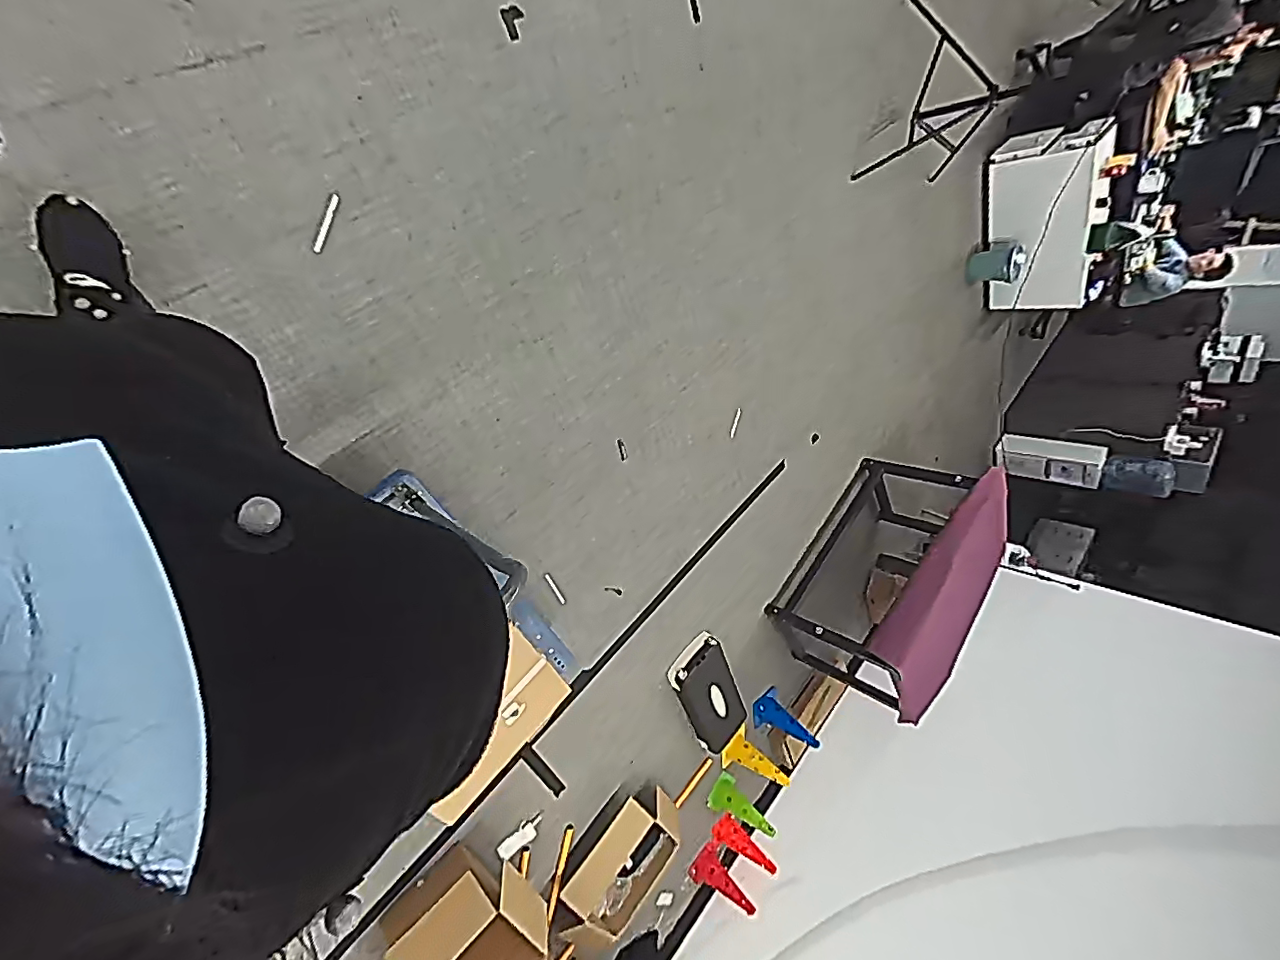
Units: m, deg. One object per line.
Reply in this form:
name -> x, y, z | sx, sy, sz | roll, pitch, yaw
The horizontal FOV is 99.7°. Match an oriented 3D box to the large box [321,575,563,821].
large box -> -0.479, 0.514, 1.337 | 0.408, 0.320, 0.320 | -45, 129, -25
